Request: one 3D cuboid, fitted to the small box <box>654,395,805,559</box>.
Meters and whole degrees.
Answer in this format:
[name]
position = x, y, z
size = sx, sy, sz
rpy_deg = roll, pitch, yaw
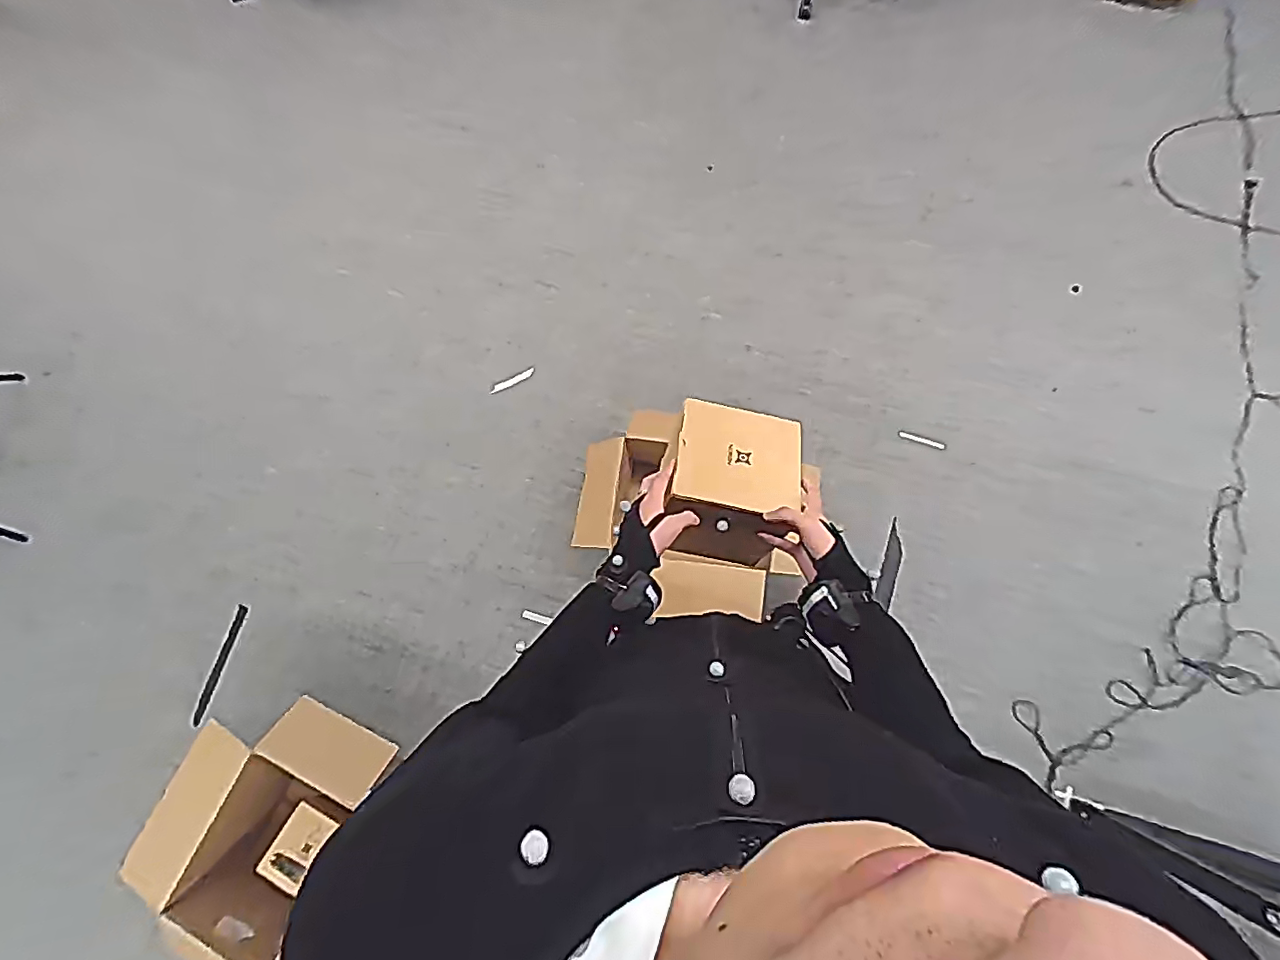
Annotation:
[small box]
position = 0.127, 0.004, 0.799
size = 0.179, 0.176, 0.168
rpy_deg = 11, 58, -2
